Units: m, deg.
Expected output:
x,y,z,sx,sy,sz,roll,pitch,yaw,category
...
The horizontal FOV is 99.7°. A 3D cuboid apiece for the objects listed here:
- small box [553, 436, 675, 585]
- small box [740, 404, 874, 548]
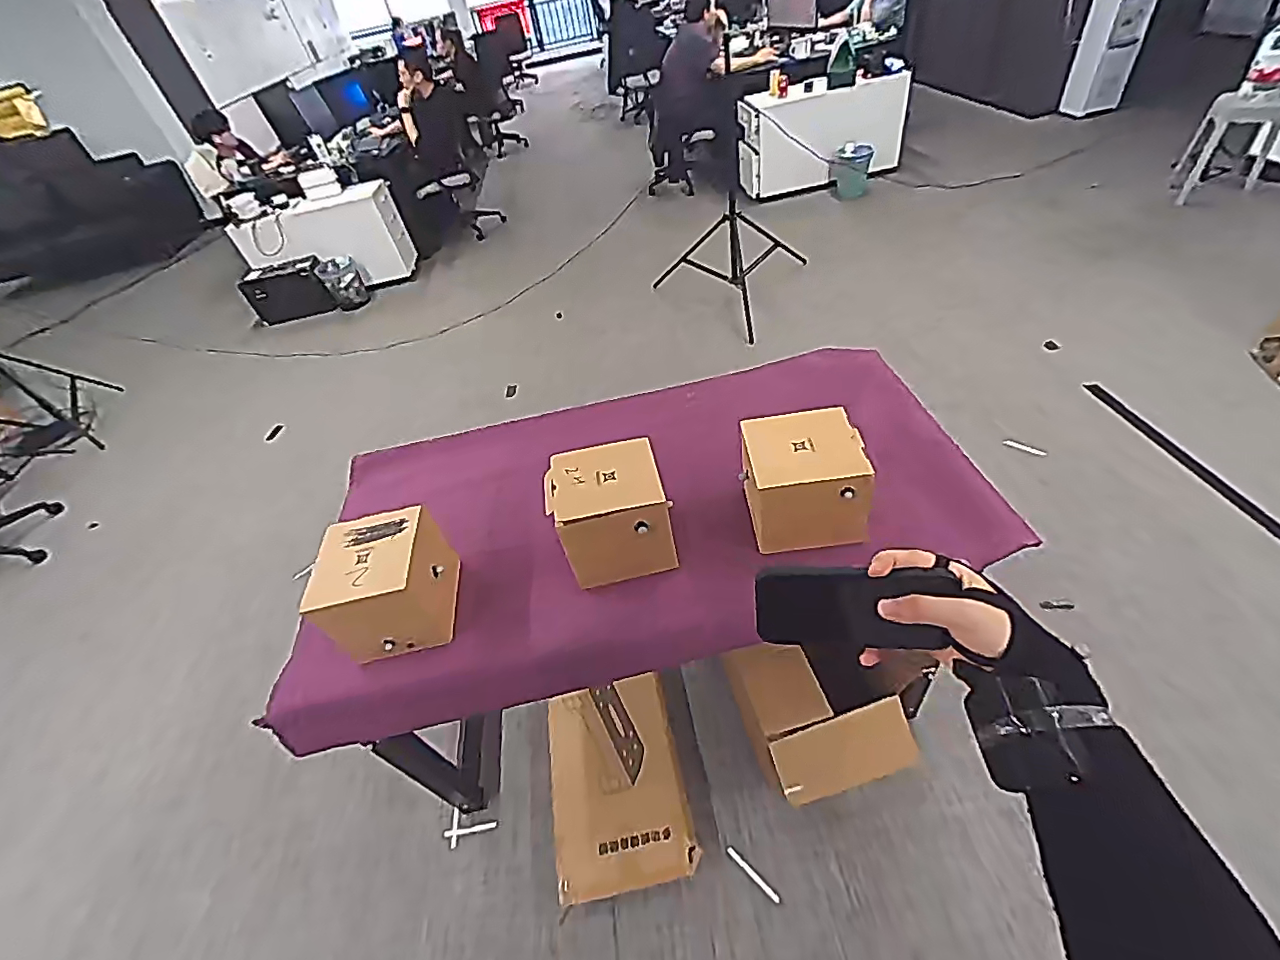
x,y,z,sx,sy,sz,roll,pitch,yaw,category
-0.041,0.055,0.928,0.179,0.176,0.168,-14,42,0,small box
0.273,-0.002,0.913,0.179,0.176,0.168,-8,44,5,small box
